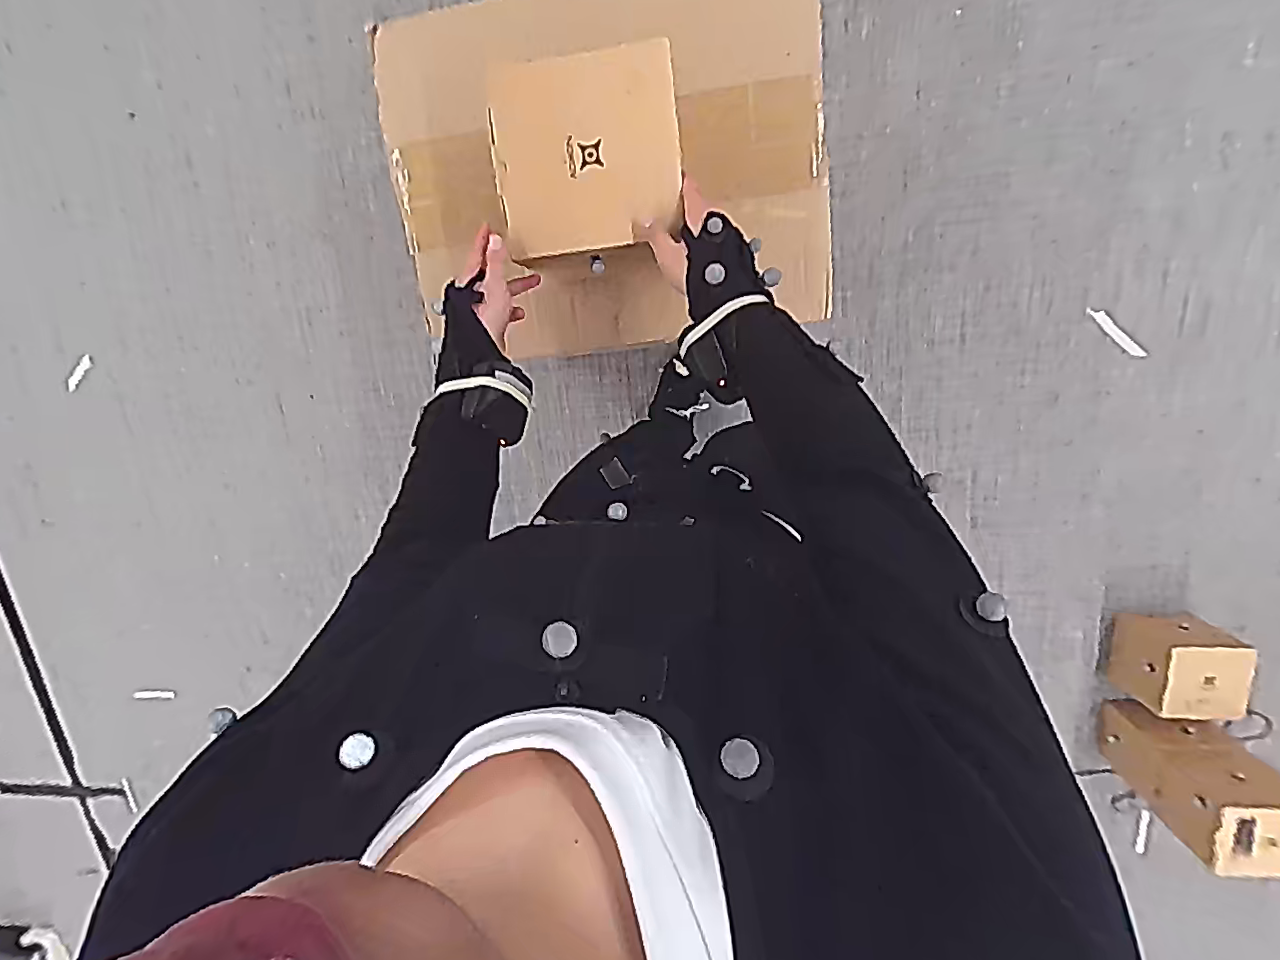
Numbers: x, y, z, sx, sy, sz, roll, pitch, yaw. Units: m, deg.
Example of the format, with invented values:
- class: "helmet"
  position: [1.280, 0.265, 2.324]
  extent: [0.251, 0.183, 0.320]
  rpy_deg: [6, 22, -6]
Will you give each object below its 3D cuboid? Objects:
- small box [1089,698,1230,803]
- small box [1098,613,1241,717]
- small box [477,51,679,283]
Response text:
- class: "small box"
  position: [1.248, 0.650, 1.313]
  extent: [0.179, 0.176, 0.168]
  rpy_deg: [-4, 103, 8]
- class: "small box"
  position: [1.220, 0.423, 1.261]
  extent: [0.168, 0.176, 0.179]
  rpy_deg: [0, 102, 7]
- class: "small box"
  position: [-0.049, -0.312, 0.578]
  extent: [0.179, 0.176, 0.168]
  rpy_deg: [-3, 103, 8]
